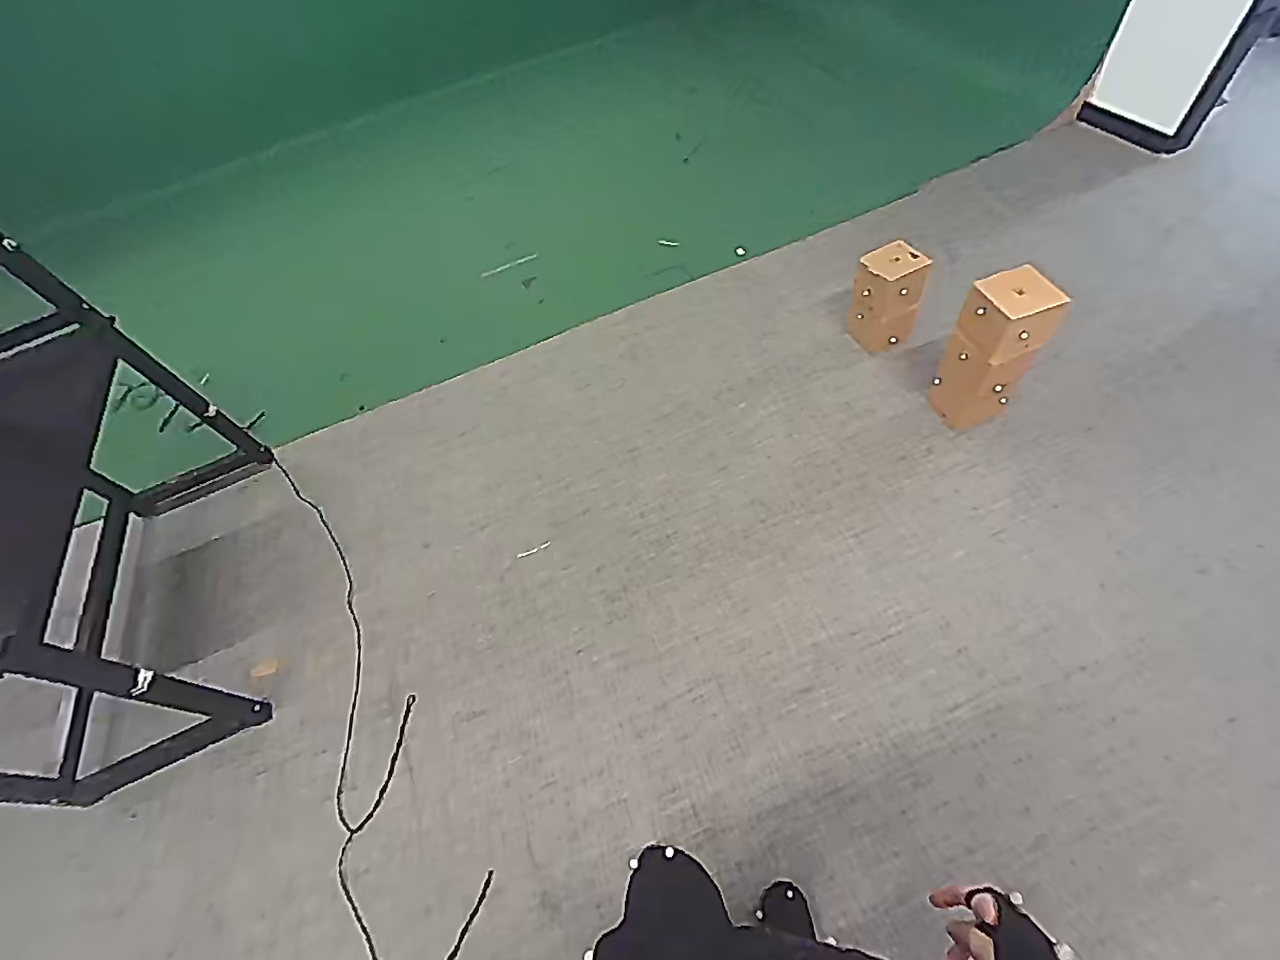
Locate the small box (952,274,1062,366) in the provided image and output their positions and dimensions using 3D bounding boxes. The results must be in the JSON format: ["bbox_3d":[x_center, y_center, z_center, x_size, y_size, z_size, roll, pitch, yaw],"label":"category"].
[{"bbox_3d":[1.038,-0.449,1.546,0.168,0.176,0.179,-19,54,-1],"label":"small box"}]

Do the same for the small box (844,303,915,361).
[{"bbox_3d":[0.908,-0.588,2.069,0.168,0.176,0.179,-24,56,-5],"label":"small box"}]

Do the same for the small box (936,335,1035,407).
[{"bbox_3d":[1.061,-0.360,1.680,0.168,0.176,0.179,-23,56,-4],"label":"small box"}]

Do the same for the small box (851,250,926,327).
[{"bbox_3d":[0.880,-0.682,1.938,0.179,0.176,0.168,-27,55,-6],"label":"small box"}]
